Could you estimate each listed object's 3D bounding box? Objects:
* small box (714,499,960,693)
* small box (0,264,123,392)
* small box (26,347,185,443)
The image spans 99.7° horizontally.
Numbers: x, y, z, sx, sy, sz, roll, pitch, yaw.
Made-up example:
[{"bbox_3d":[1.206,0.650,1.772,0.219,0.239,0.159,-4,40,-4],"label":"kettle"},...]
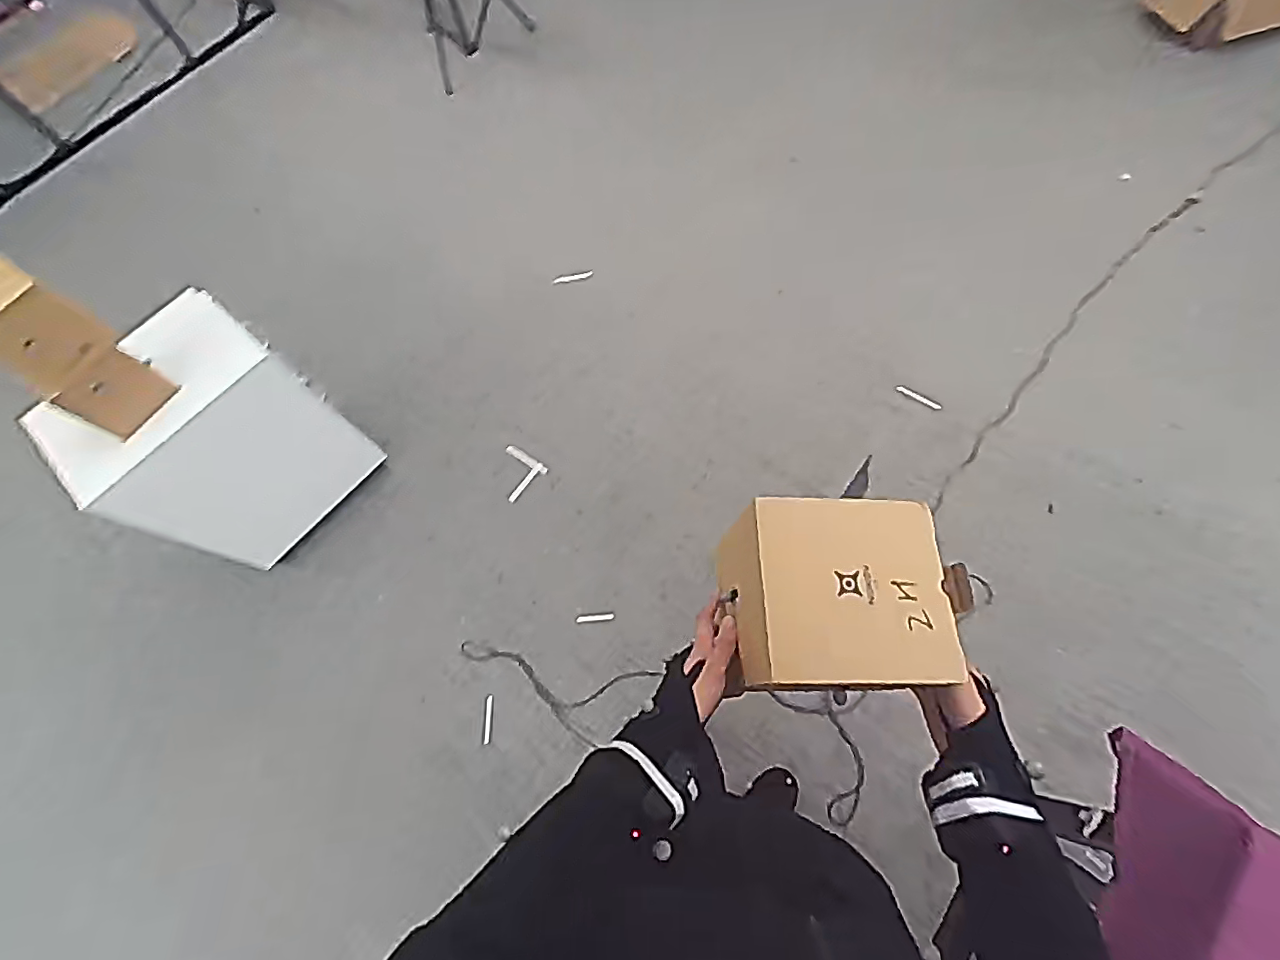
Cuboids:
[{"bbox_3d":[0.178,0.127,0.556,0.179,0.176,0.168,1,66,-6],"label":"small box"},{"bbox_3d":[-1.259,-0.309,1.132,0.179,0.176,0.168,29,73,20],"label":"small box"},{"bbox_3d":[-1.239,-0.215,1.266,0.168,0.176,0.179,29,72,19],"label":"small box"}]
